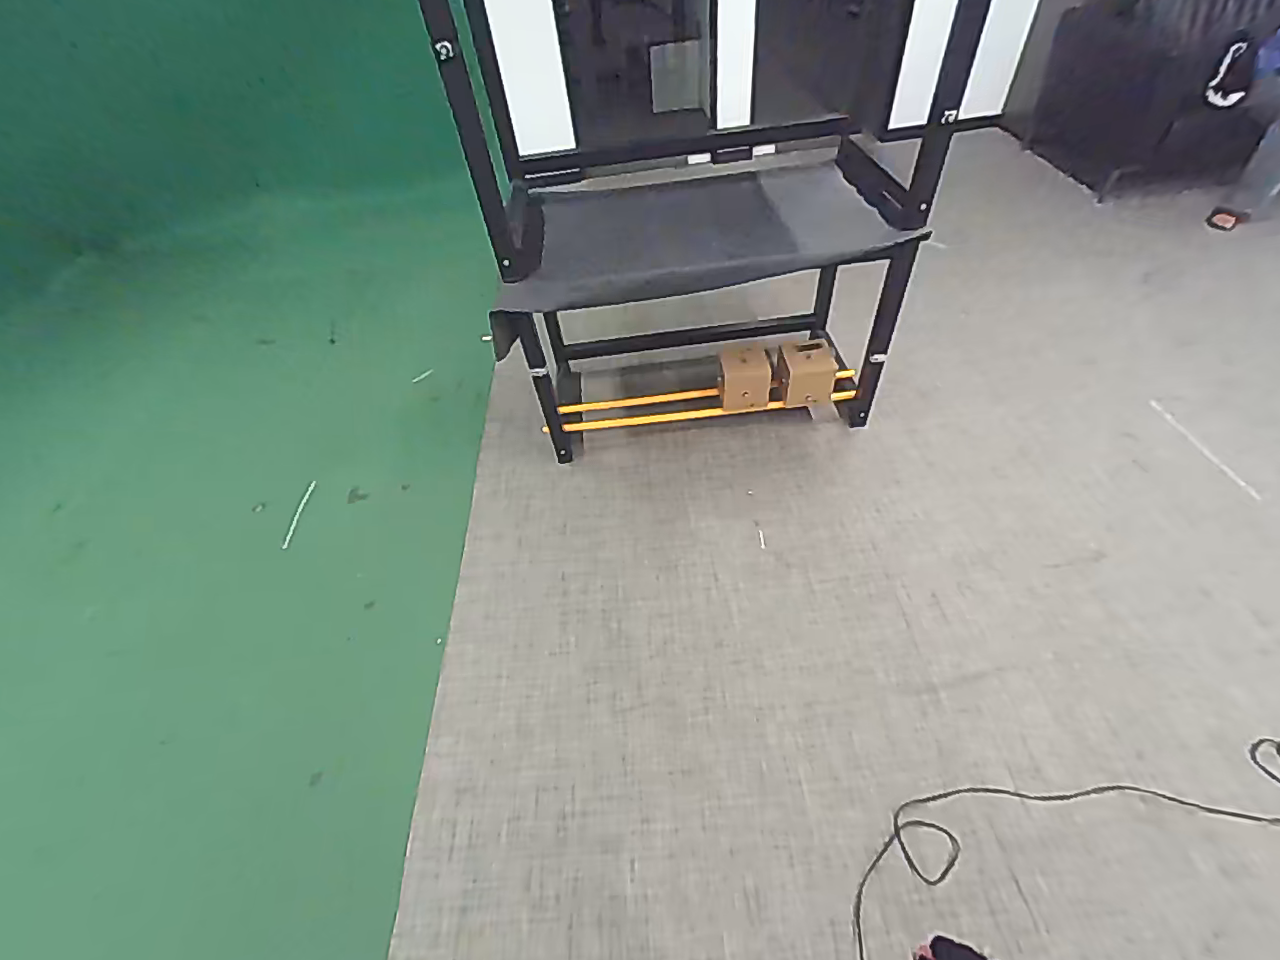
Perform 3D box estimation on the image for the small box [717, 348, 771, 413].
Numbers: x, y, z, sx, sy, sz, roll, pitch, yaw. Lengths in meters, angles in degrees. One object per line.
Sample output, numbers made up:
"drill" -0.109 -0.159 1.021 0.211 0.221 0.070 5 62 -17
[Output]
"small box" 0.380 -0.361 2.000 0.168 0.176 0.179 -7 49 1
